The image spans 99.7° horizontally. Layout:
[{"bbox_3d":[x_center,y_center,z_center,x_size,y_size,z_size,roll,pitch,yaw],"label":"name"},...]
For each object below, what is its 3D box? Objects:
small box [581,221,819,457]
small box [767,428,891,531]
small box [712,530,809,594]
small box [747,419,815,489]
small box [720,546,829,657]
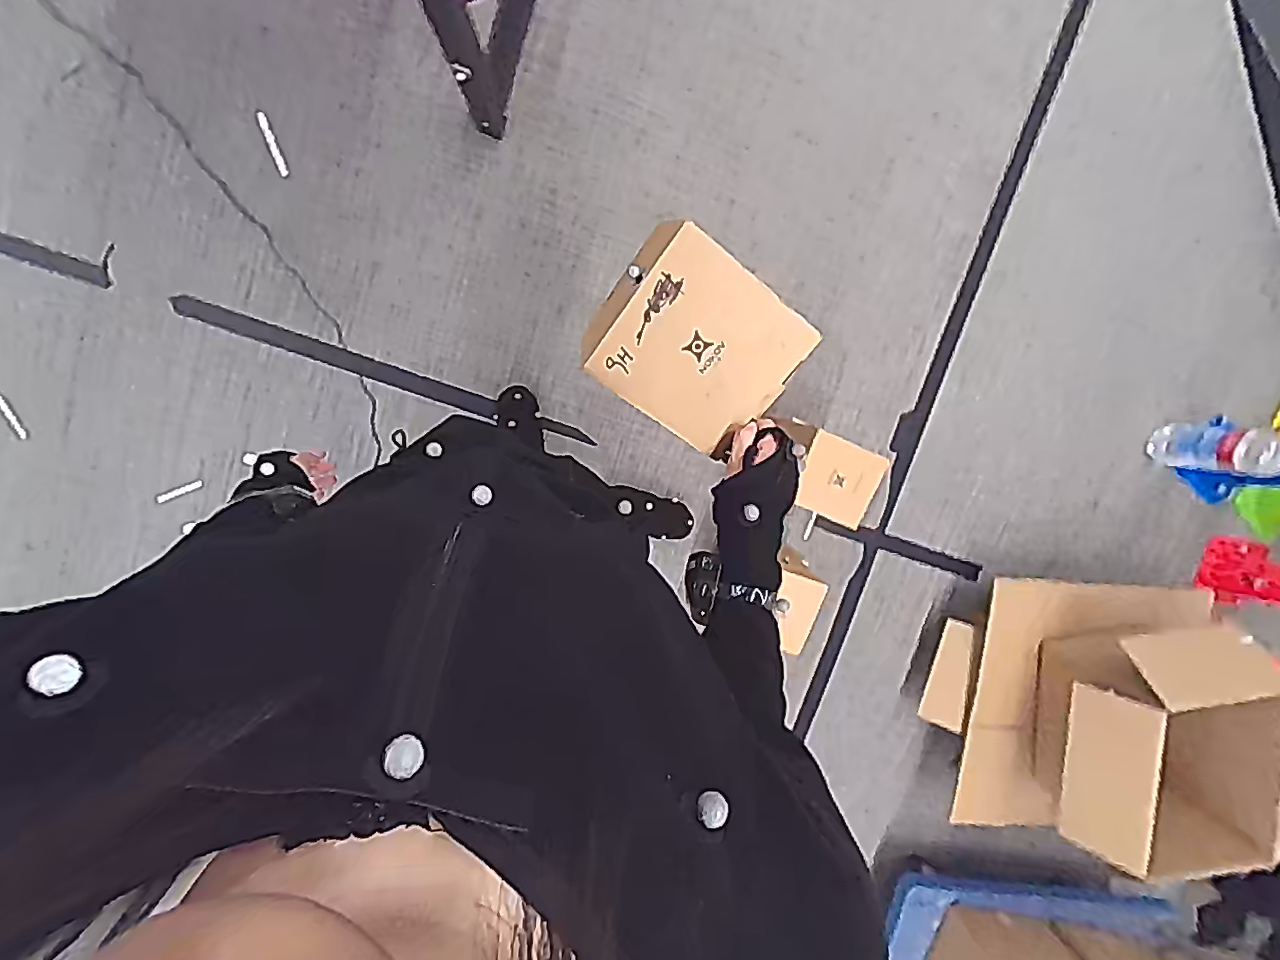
[{"bbox_3d":[0.052,-0.160,0.589,0.179,0.176,0.168,32,108,-20],"label":"small box"},{"bbox_3d":[0.410,-0.010,1.211,0.179,0.176,0.168,22,99,-9],"label":"small box"},{"bbox_3d":[0.305,0.243,1.412,0.179,0.176,0.168,17,99,-8],"label":"small box"},{"bbox_3d":[0.391,-0.045,1.369,0.168,0.176,0.179,24,98,-9],"label":"small box"},{"bbox_3d":[0.300,0.271,1.249,0.168,0.176,0.179,20,99,-7],"label":"small box"}]
